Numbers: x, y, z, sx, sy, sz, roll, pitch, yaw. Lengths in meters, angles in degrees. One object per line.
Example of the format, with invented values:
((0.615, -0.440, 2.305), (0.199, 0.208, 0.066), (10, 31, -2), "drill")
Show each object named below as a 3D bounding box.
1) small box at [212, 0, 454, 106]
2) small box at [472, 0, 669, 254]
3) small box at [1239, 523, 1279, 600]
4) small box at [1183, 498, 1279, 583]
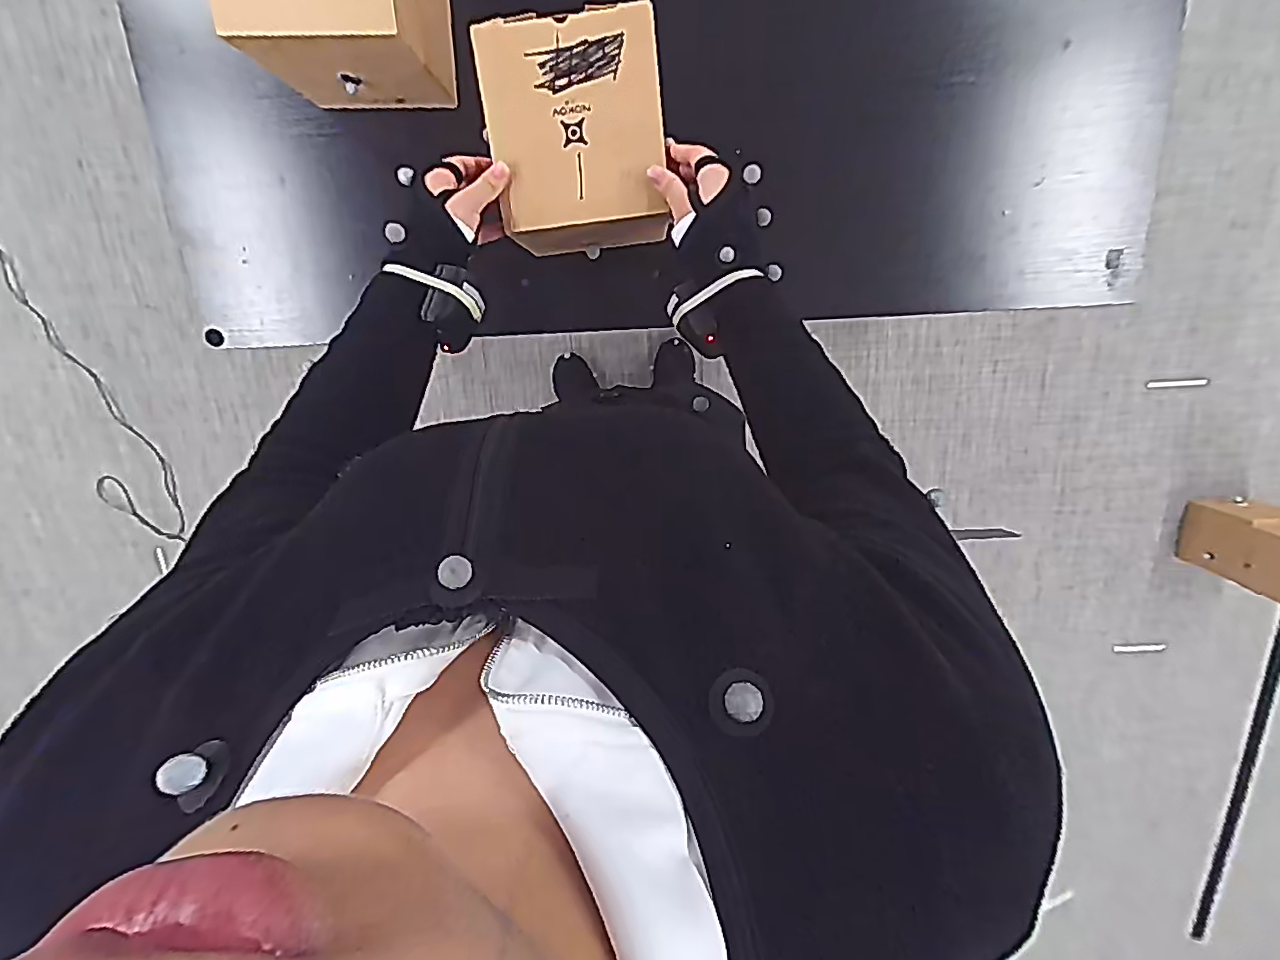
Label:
((-0.299, -0.503, 0.544), (0.168, 0.176, 0.179), (0, 105, 0), "small box")
((-0.062, -0.355, 0.580), (0.168, 0.176, 0.179), (-6, 105, 3), "small box")
((1.618, 0.203, 1.287), (0.179, 0.176, 0.168), (-5, 105, 1), "small box")
((1.621, 0.158, 1.445), (0.168, 0.176, 0.179), (-4, 104, 1), "small box")
